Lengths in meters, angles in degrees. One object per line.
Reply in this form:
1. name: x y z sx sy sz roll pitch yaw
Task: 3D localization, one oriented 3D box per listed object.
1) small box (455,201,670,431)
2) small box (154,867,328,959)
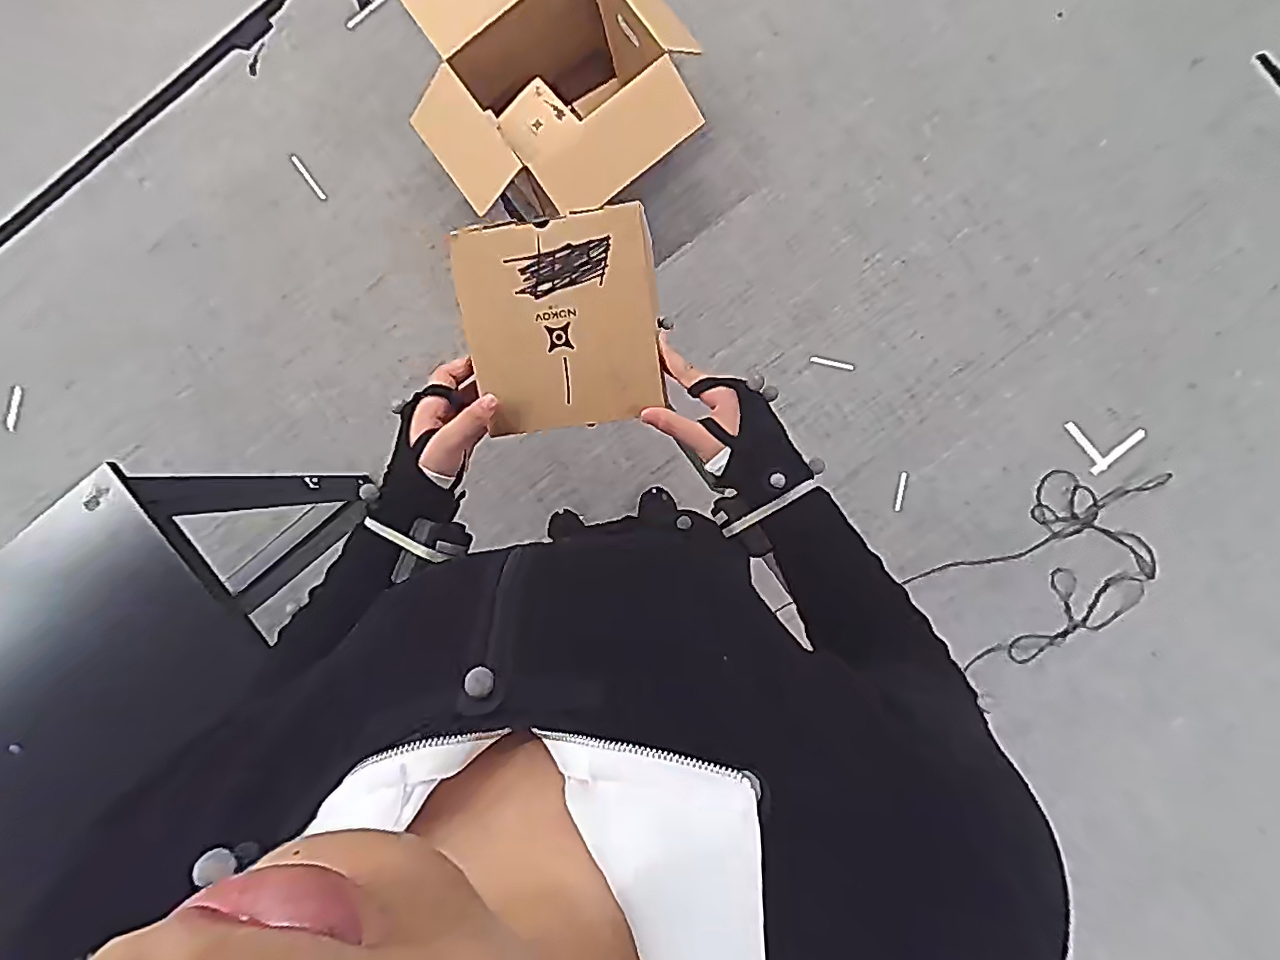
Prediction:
1. small box: -0.060 -0.155 0.541 0.168 0.176 0.179 -6 105 6
2. small box: -0.553 0.672 0.713 0.179 0.176 0.168 -37 89 2
